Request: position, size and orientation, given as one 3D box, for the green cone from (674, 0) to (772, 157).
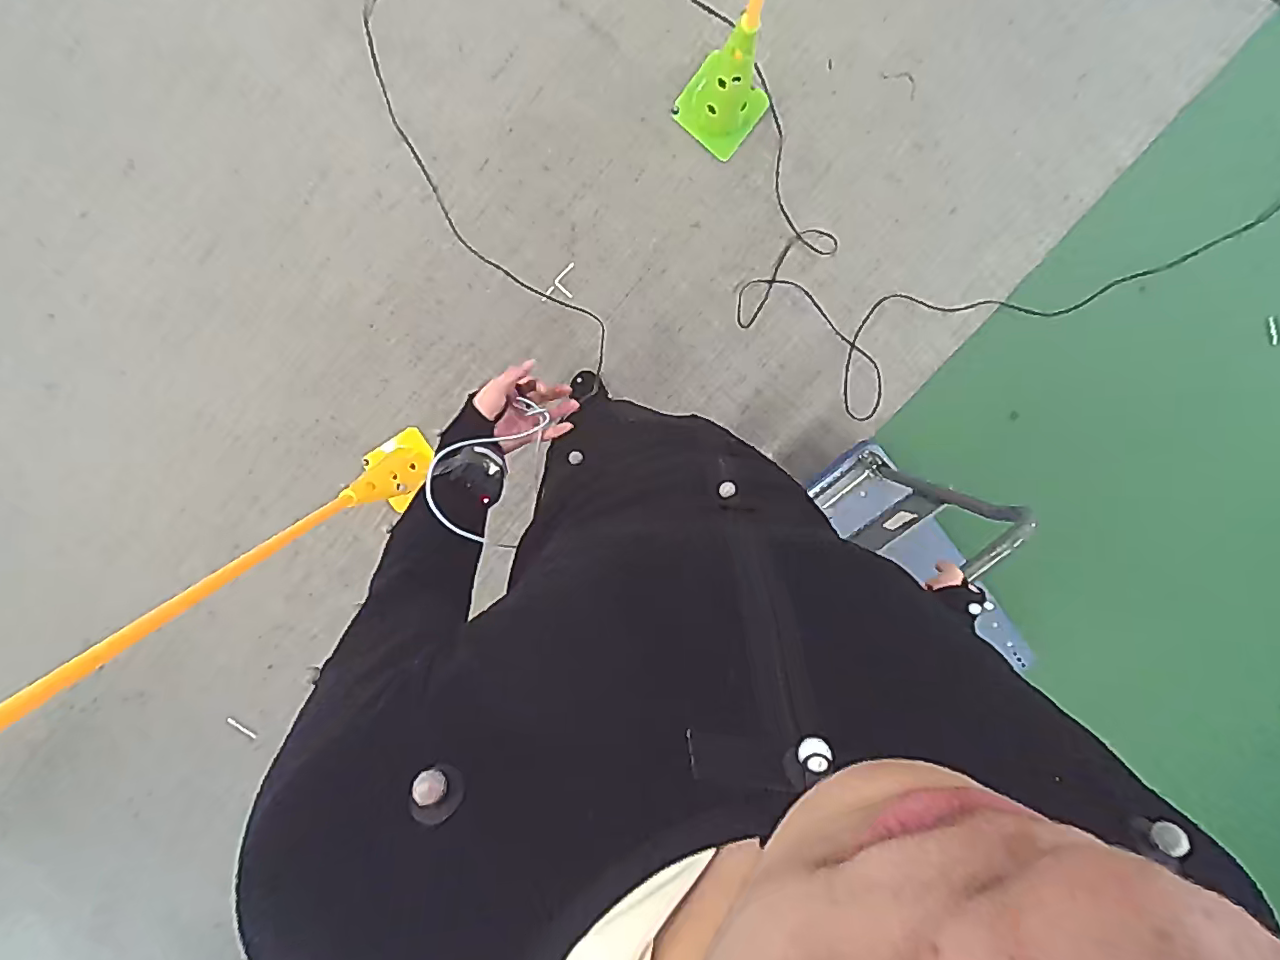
[{"bbox_3d":[0.225,-0.953,1.243,0.200,0.368,0.202,37,97,-9],"label":"green cone"}]
